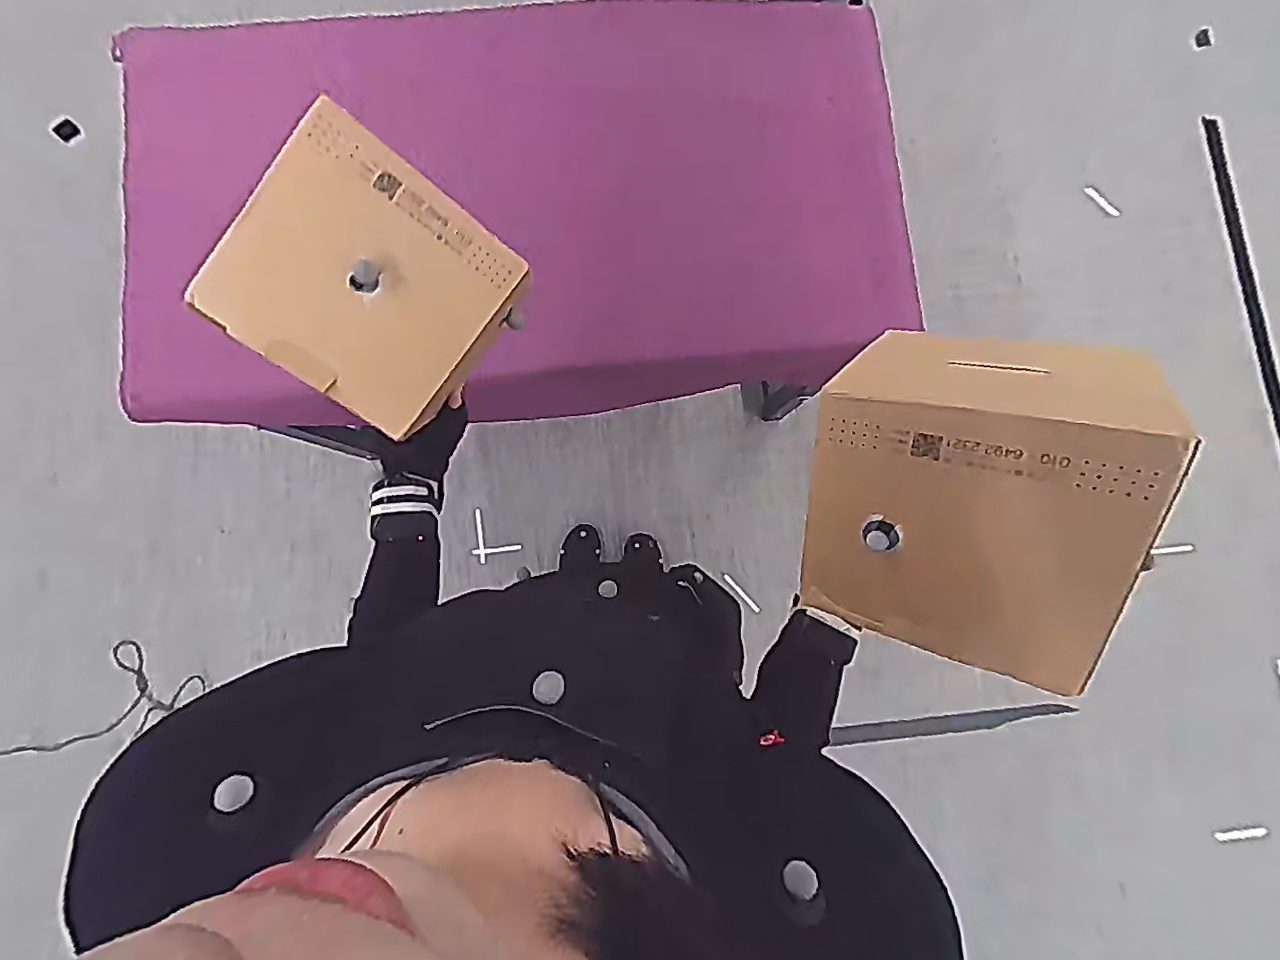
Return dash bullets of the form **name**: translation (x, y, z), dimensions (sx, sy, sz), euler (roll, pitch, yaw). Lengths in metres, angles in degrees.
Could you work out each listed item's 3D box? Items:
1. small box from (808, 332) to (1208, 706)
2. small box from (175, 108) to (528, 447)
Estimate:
- **small box**: translation (0.225, 0.002, 0.361), dimensions (0.168, 0.179, 0.176), euler (16, 123, 31)
- **small box**: translation (-0.207, -0.153, 0.445), dimensions (0.168, 0.179, 0.176), euler (37, 95, -17)
